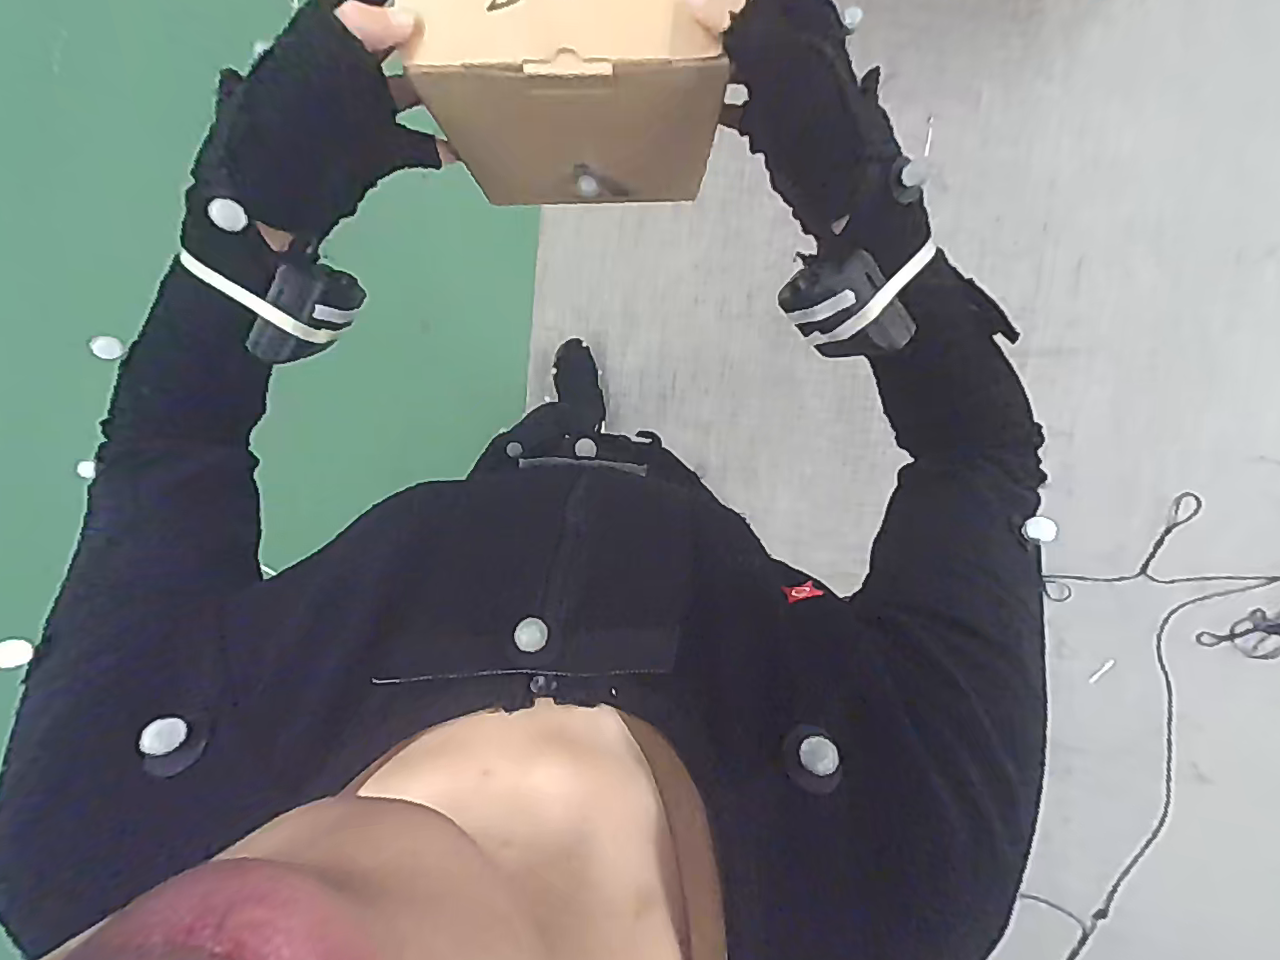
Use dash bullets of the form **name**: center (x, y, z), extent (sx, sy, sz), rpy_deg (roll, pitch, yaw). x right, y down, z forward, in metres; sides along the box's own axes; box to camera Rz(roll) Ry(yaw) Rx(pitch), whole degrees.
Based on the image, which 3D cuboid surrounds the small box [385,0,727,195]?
- **small box**: center (-0.040, -0.304, 0.333), extent (0.168, 0.176, 0.179), rpy_deg (-1, 94, 1)
